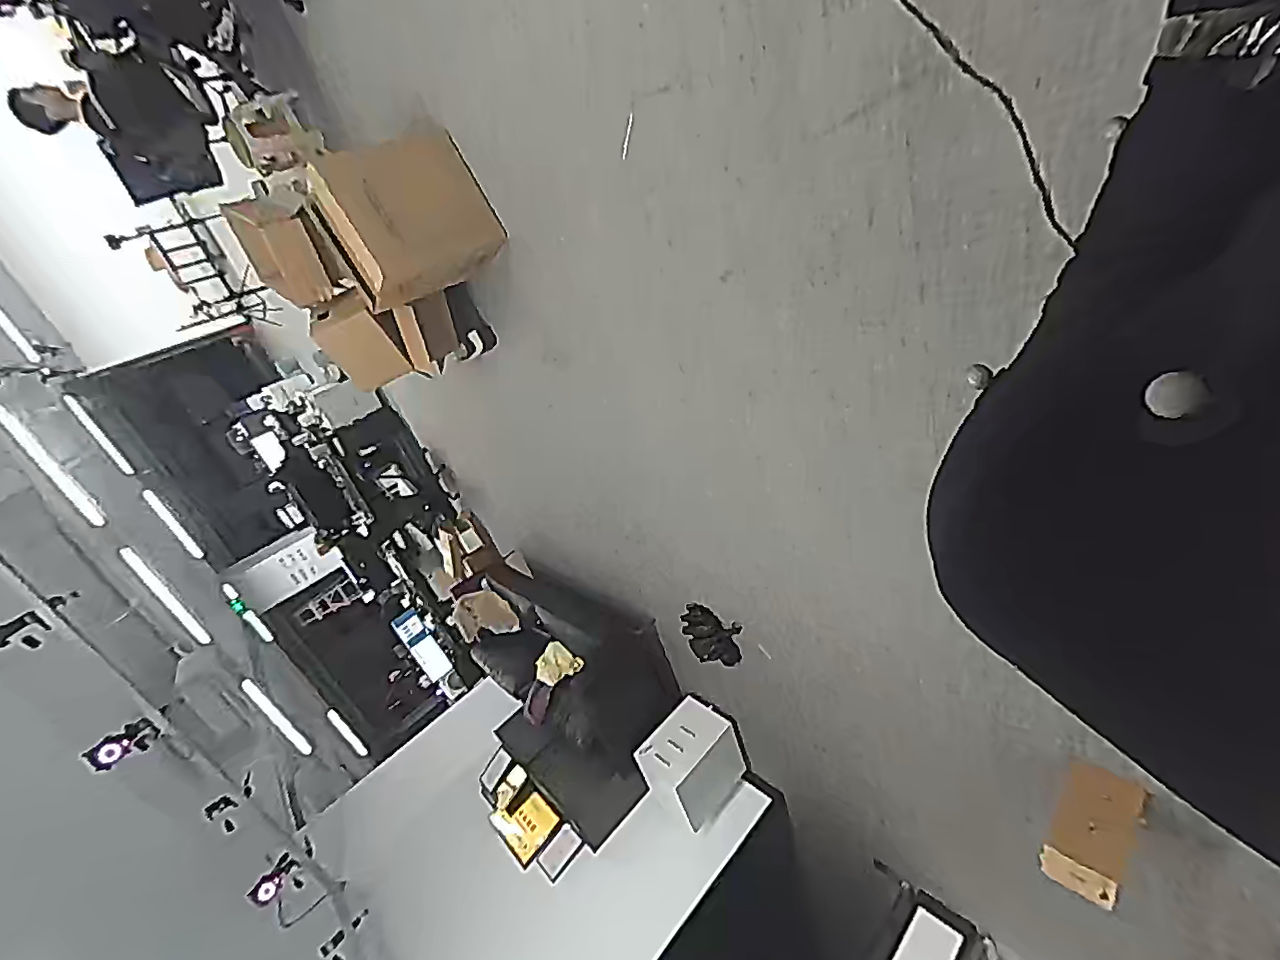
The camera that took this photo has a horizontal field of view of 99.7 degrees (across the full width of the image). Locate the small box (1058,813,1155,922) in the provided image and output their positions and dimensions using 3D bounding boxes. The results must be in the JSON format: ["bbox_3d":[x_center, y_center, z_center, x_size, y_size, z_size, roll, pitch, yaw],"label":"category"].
[{"bbox_3d":[1.370,1.126,1.592,0.179,0.176,0.168,16,133,48],"label":"small box"}]

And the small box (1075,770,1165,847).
[{"bbox_3d":[1.483,1.042,1.673,0.179,0.176,0.168,12,130,51],"label":"small box"}]
